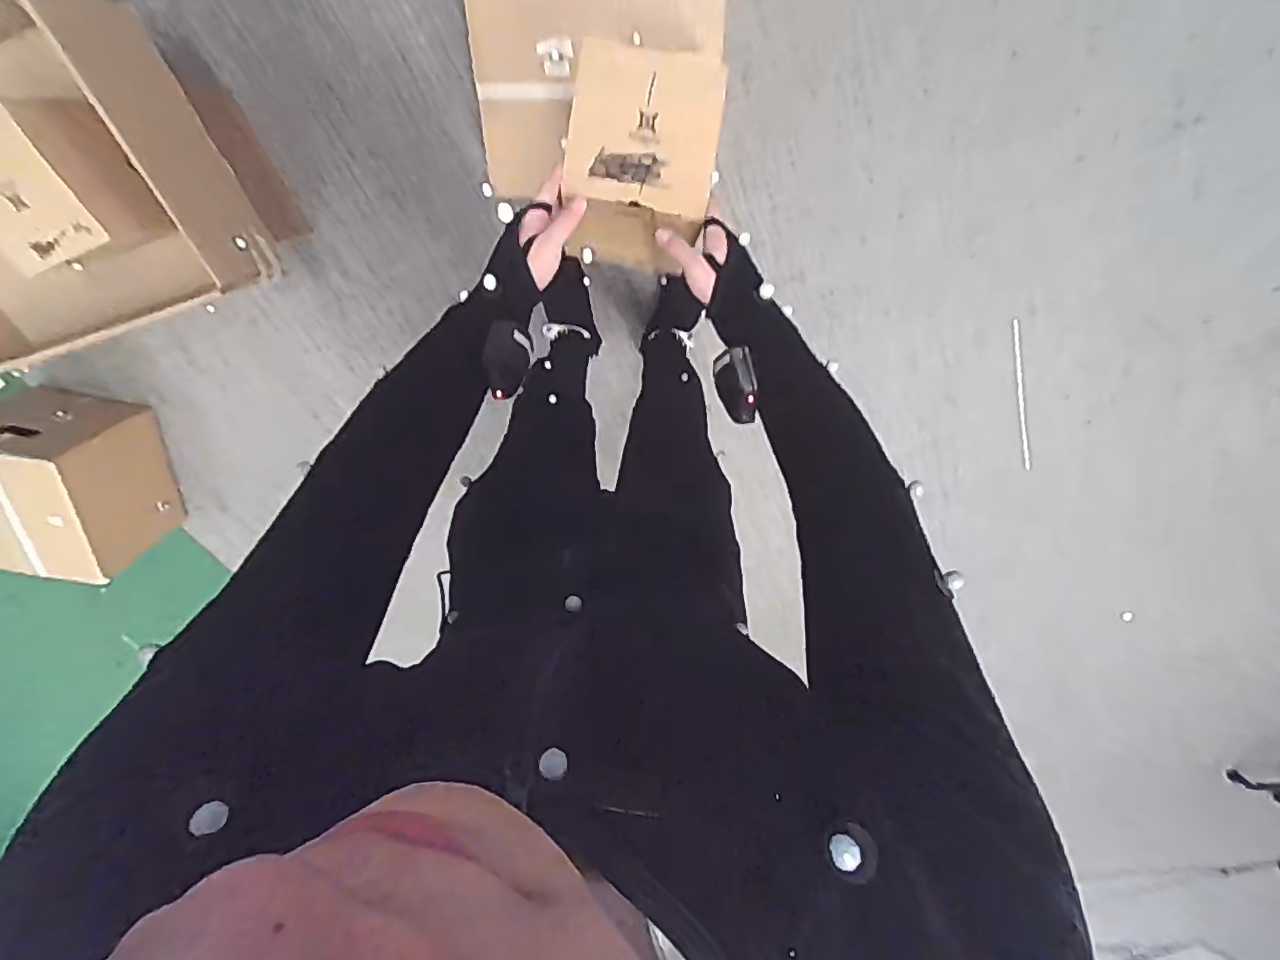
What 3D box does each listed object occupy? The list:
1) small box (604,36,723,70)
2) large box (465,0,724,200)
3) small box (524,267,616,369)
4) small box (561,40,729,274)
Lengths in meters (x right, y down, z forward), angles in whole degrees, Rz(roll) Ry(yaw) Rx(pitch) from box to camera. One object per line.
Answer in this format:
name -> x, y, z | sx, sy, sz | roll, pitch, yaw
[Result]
small box -> 0.022, -0.550, 0.829 | 0.168, 0.176, 0.179 | 6, 125, -3
large box -> -0.063, -0.719, 1.013 | 0.408, 0.320, 0.320 | 1, 122, 1
small box -> -0.166, -0.406, 1.335 | 0.168, 0.176, 0.179 | 23, 117, -6
small box -> -0.001, -0.379, 0.671 | 0.168, 0.176, 0.179 | 8, 88, -7
